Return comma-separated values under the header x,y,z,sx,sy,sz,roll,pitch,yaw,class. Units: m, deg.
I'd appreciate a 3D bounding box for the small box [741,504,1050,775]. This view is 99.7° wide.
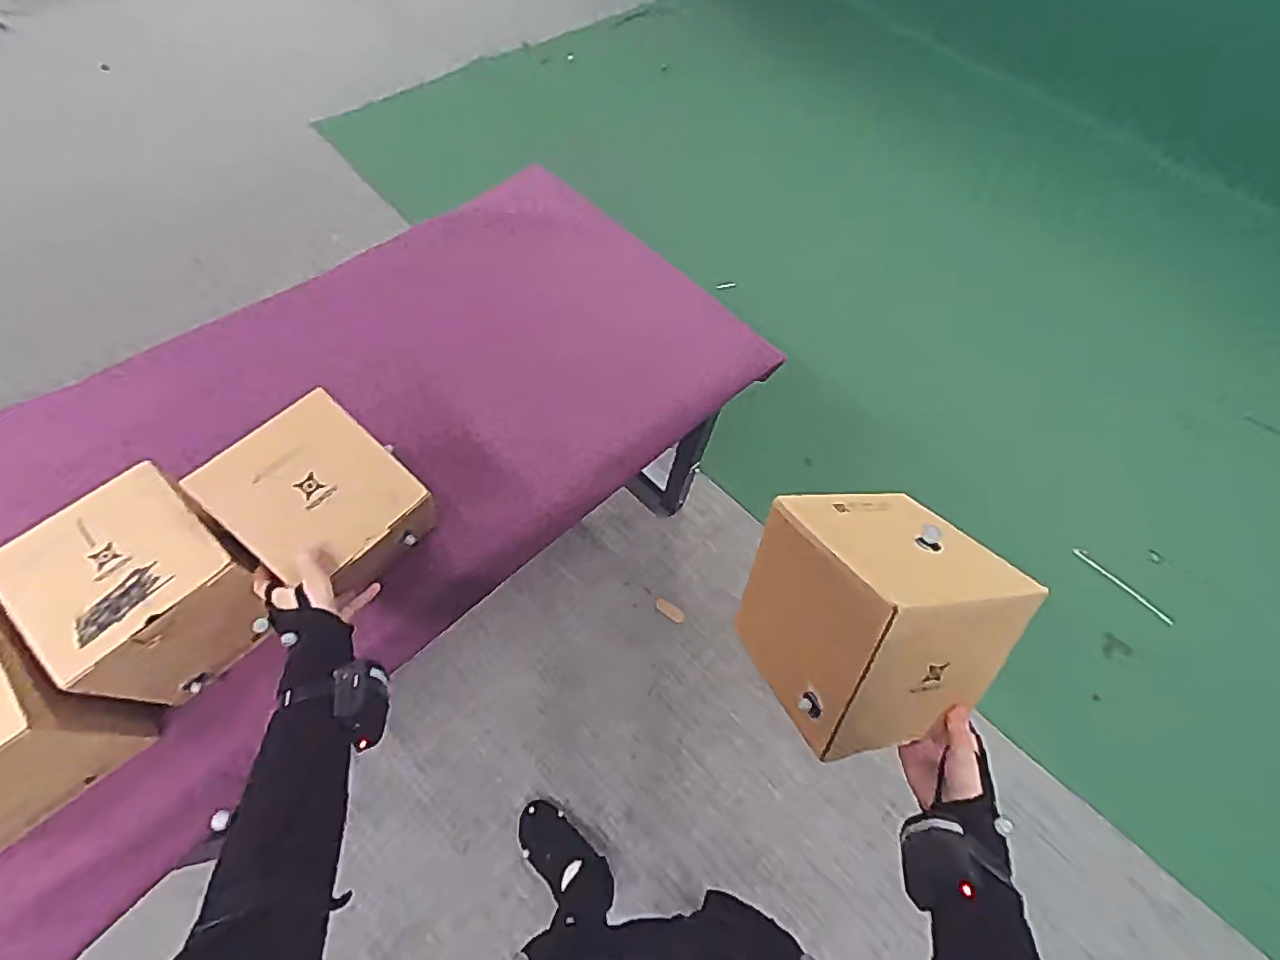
x,y,z,sx,sy,sz,roll,pitch,yaw,class
0.216,0.133,0.508,0.168,0.179,0.176,0,29,-21,small box
